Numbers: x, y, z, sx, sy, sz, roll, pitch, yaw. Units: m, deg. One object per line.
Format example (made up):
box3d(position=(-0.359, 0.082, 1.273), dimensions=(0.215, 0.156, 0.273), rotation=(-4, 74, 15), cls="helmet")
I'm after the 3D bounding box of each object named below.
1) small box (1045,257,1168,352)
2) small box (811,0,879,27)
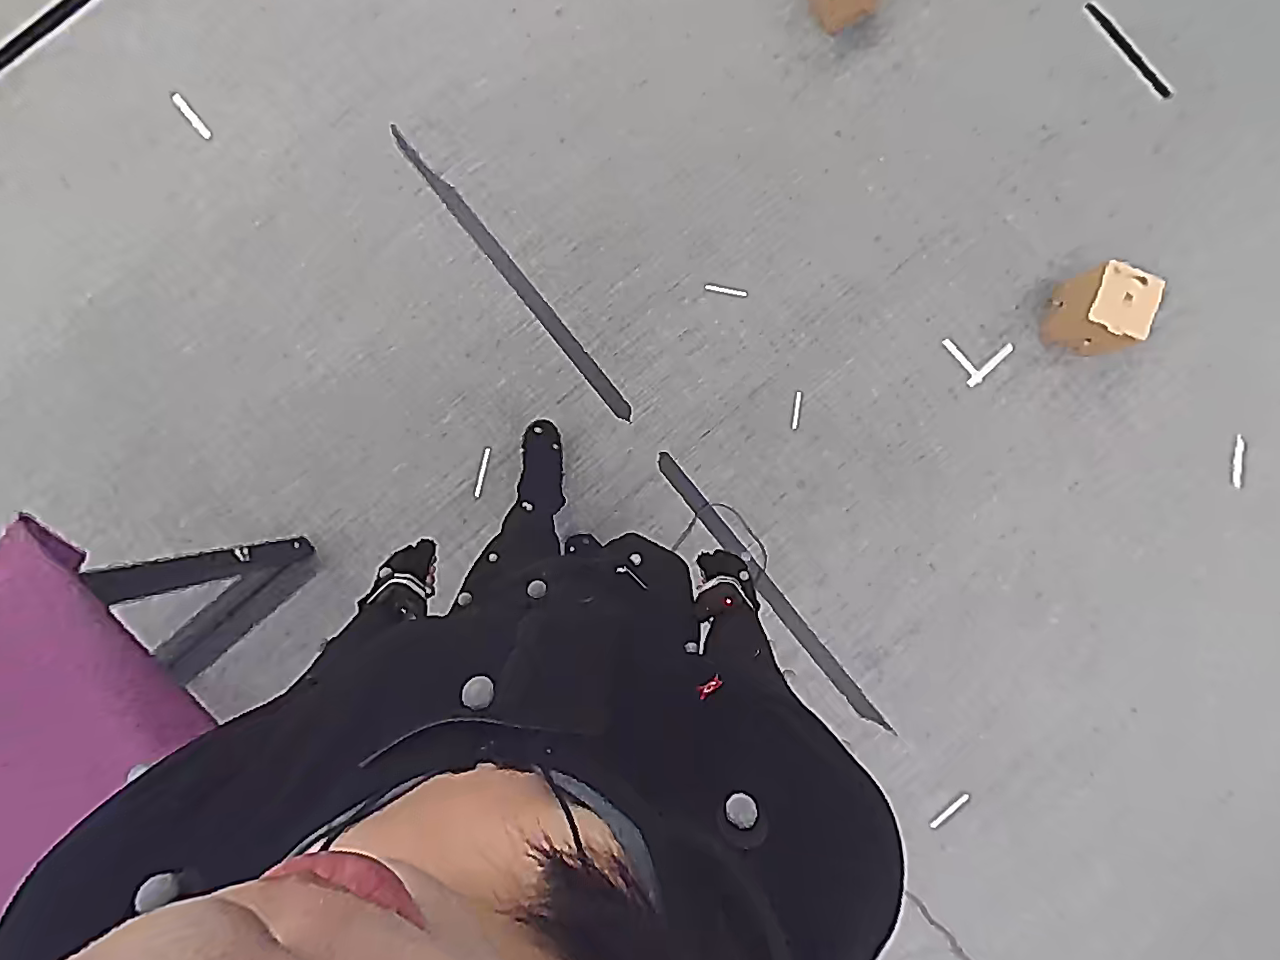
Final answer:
box3d(position=(1.271, -0.472, 1.490), dimensions=(0.168, 0.176, 0.179), rotation=(22, 89, -1), cls="small box")
box3d(position=(0.580, -1.406, 1.488), dimensions=(0.168, 0.176, 0.179), rotation=(-28, 89, -4), cls="small box")
